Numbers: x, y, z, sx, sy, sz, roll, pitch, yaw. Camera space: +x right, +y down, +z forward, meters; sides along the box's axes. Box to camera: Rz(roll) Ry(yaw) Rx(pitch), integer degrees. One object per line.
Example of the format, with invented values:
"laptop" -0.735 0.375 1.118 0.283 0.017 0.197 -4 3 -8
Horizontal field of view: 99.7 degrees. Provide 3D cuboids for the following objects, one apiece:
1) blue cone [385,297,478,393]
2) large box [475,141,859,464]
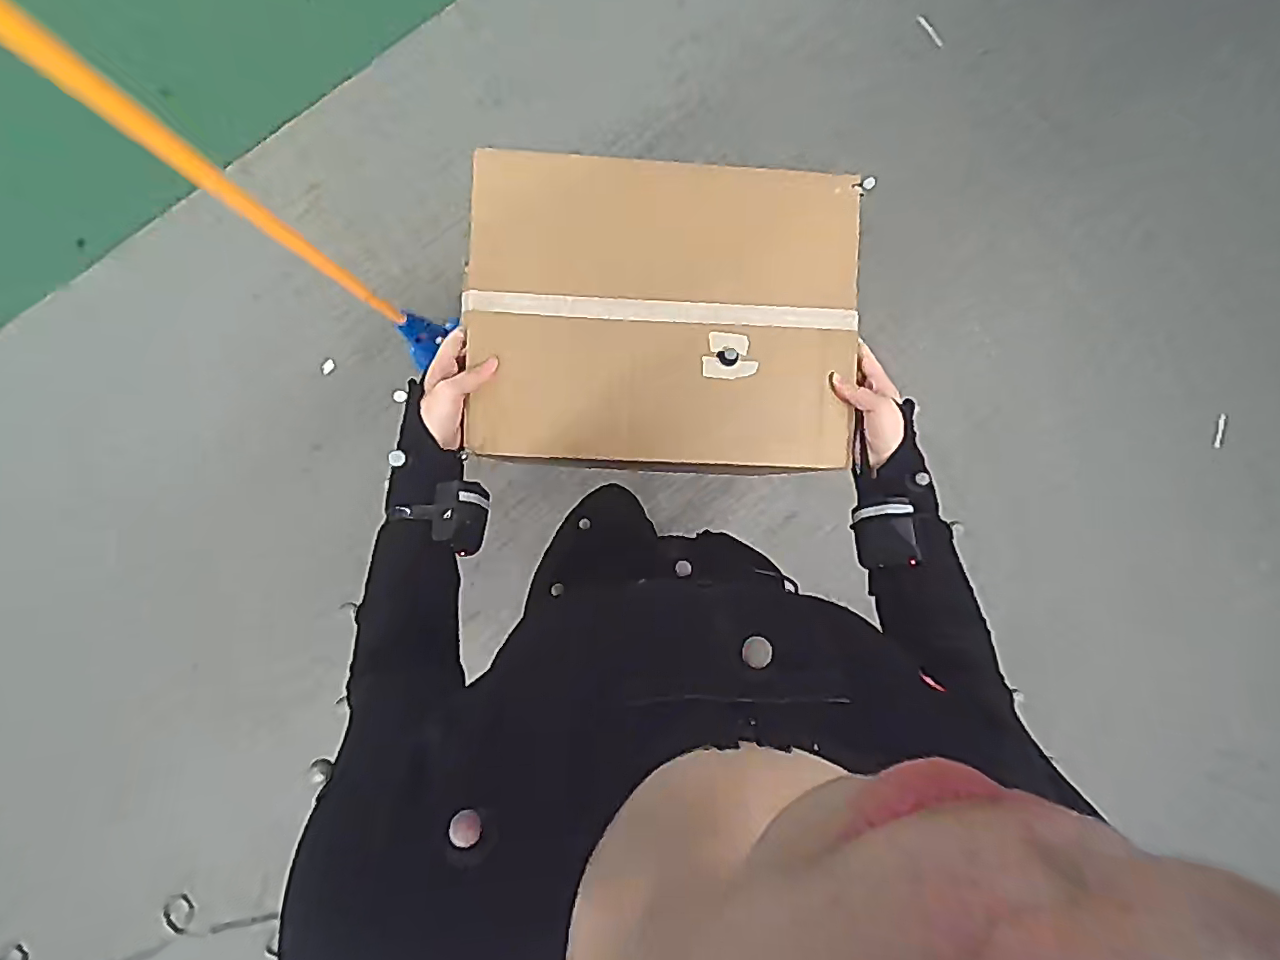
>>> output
"blue cone" -0.530 -0.359 1.347 0.193 0.380 0.192 -29 88 -2
"large box" 0.020 -0.186 0.712 0.408 0.320 0.320 3 90 -5
